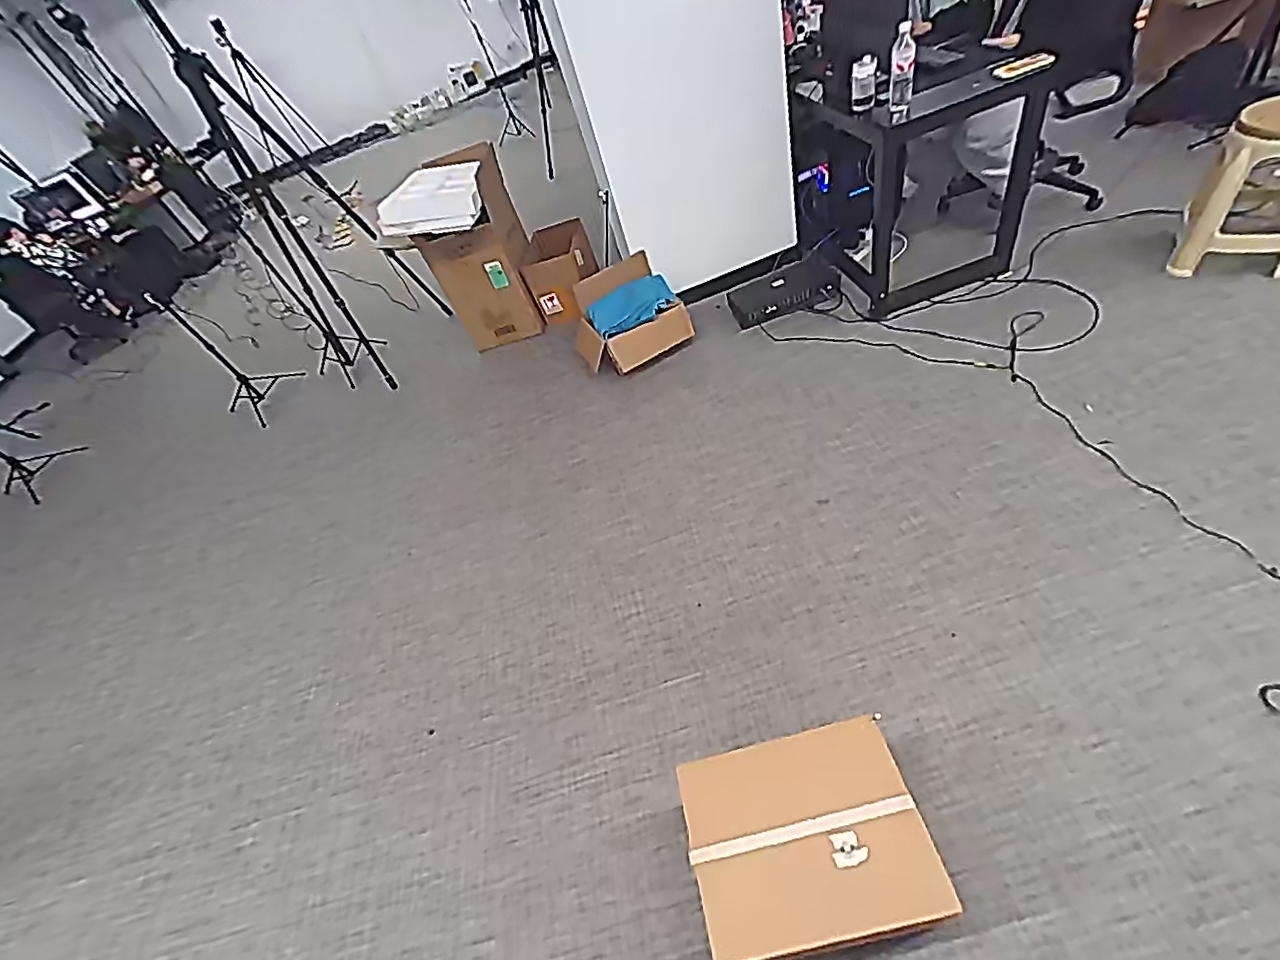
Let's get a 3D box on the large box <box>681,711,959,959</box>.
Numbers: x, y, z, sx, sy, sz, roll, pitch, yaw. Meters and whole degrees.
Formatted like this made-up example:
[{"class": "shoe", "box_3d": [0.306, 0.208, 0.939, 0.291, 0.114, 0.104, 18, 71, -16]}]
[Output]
[{"class": "large box", "box_3d": [0.332, 0.718, 1.074, 0.408, 0.320, 0.320, -18, 46, 4]}]
